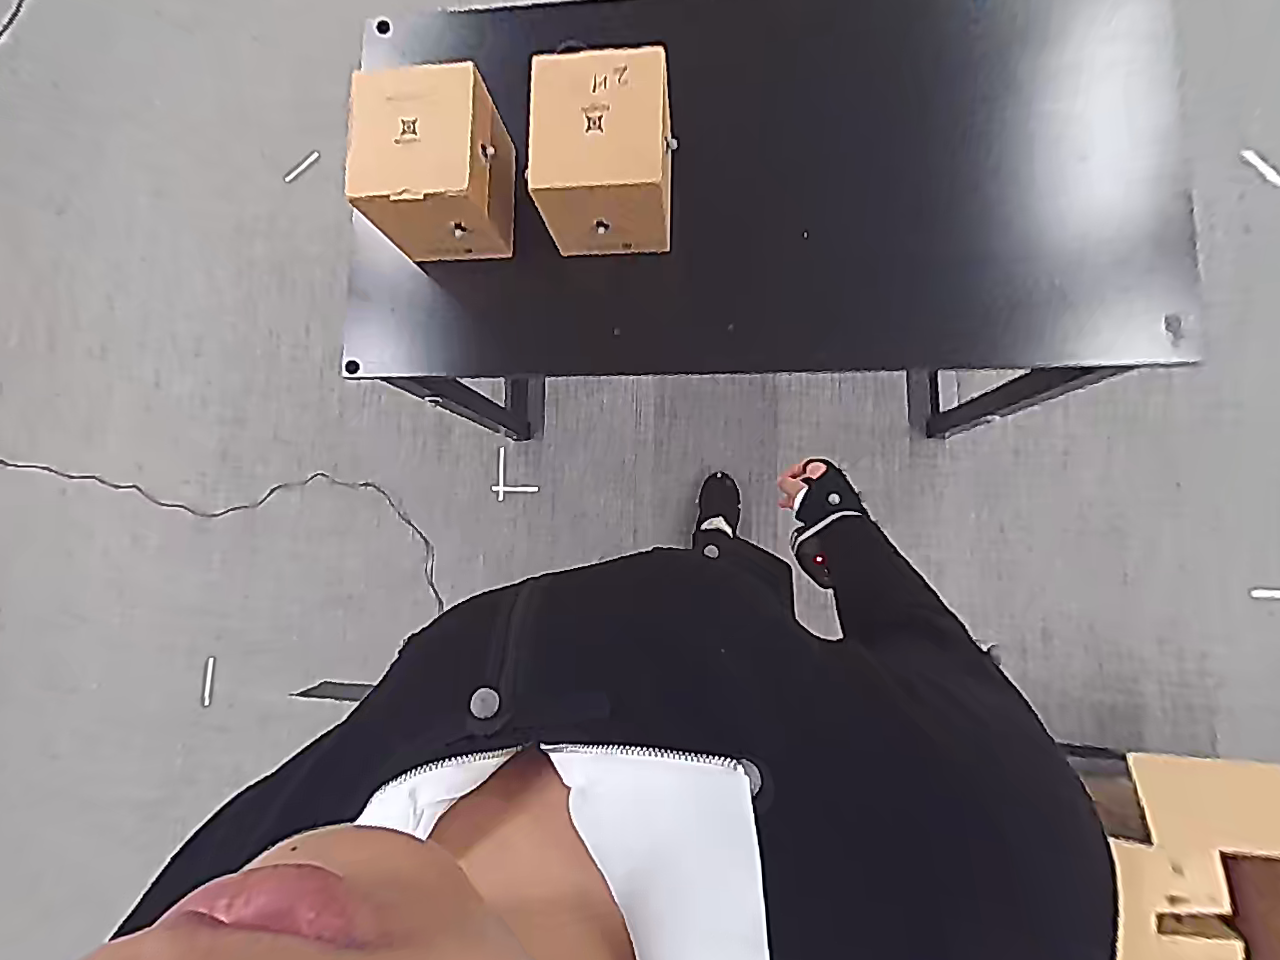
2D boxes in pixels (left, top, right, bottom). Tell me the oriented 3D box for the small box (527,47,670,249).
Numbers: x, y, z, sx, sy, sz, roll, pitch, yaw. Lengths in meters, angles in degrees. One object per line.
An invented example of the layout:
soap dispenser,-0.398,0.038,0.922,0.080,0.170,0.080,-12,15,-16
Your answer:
small box,-0.046,-0.432,0.734,0.168,0.176,0.179,1,85,6

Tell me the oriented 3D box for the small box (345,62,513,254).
small box,-0.285,-0.436,0.763,0.168,0.176,0.179,0,84,5
